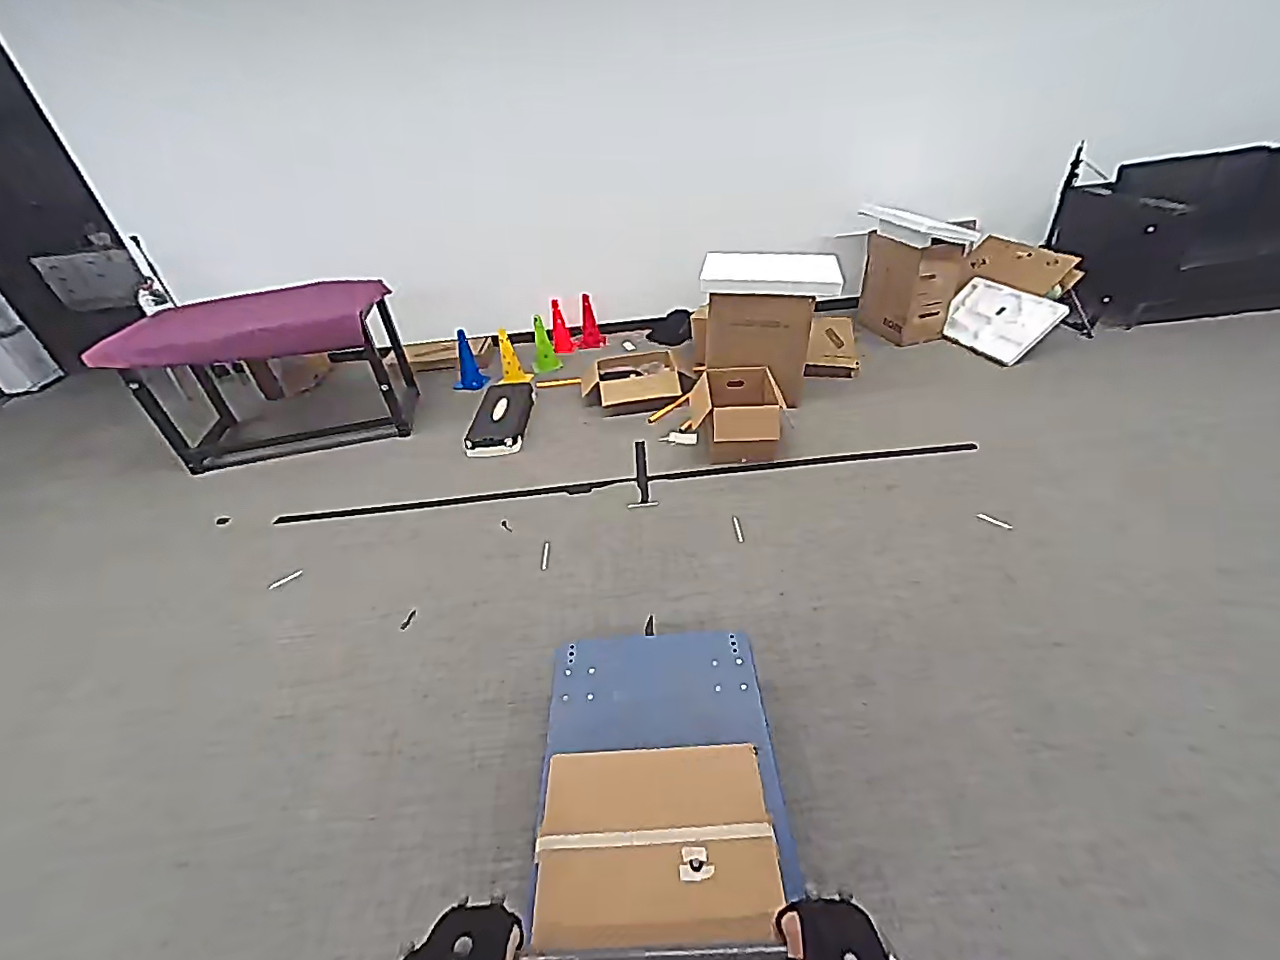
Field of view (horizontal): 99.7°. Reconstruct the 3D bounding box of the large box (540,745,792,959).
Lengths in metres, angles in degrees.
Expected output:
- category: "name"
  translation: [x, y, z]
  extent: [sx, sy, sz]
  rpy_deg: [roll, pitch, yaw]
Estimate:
- category: "large box"
  translation: [0.041, 0.752, 1.042]
  extent: [0.408, 0.320, 0.320]
  rpy_deg: [-4, 37, 1]
